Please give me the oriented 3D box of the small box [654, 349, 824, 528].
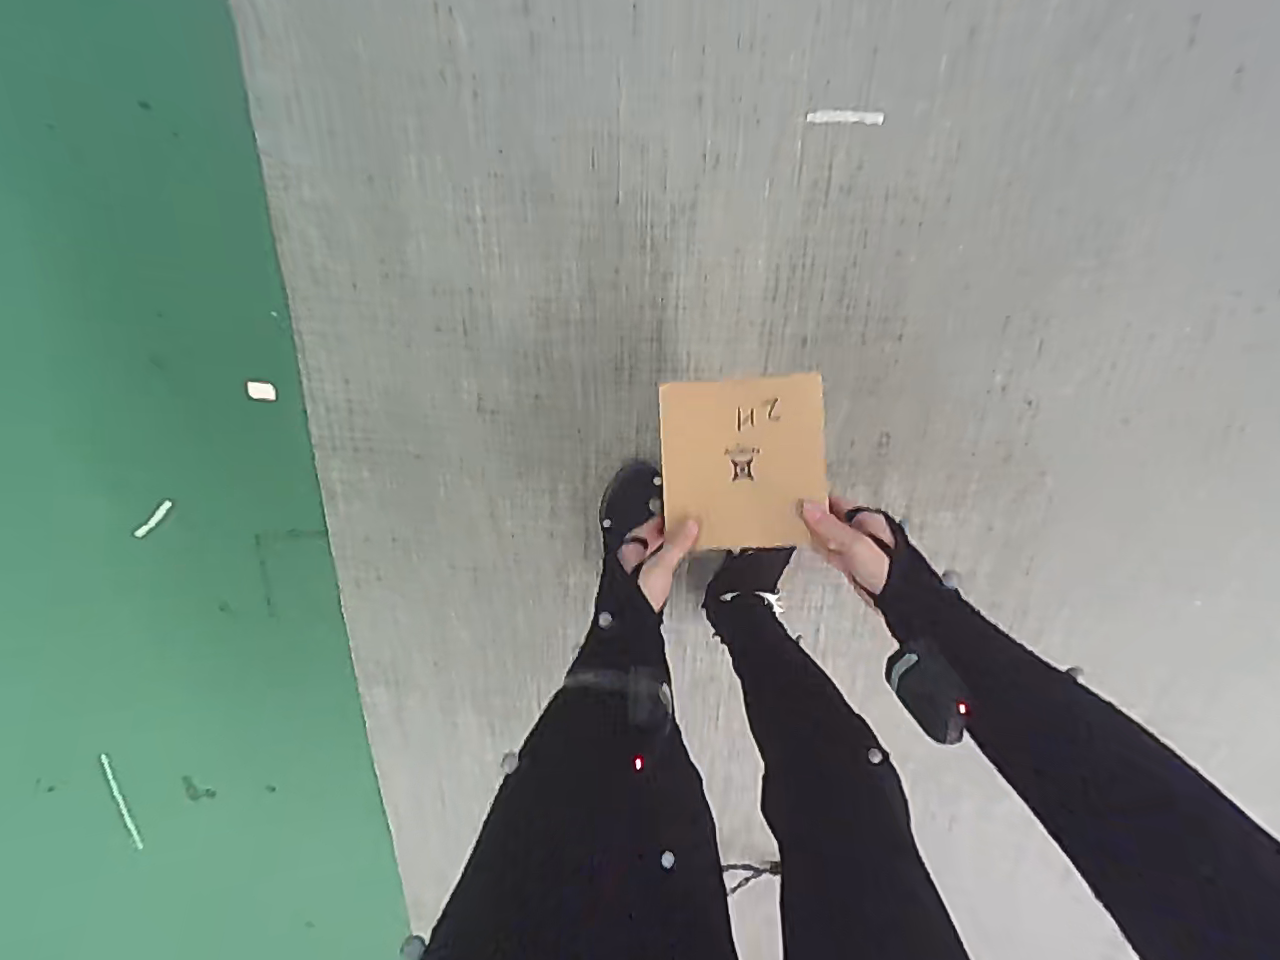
[{"bbox_3d":[0.104,-0.042,0.608,0.168,0.176,0.179,-1,90,5],"label":"small box"}]
